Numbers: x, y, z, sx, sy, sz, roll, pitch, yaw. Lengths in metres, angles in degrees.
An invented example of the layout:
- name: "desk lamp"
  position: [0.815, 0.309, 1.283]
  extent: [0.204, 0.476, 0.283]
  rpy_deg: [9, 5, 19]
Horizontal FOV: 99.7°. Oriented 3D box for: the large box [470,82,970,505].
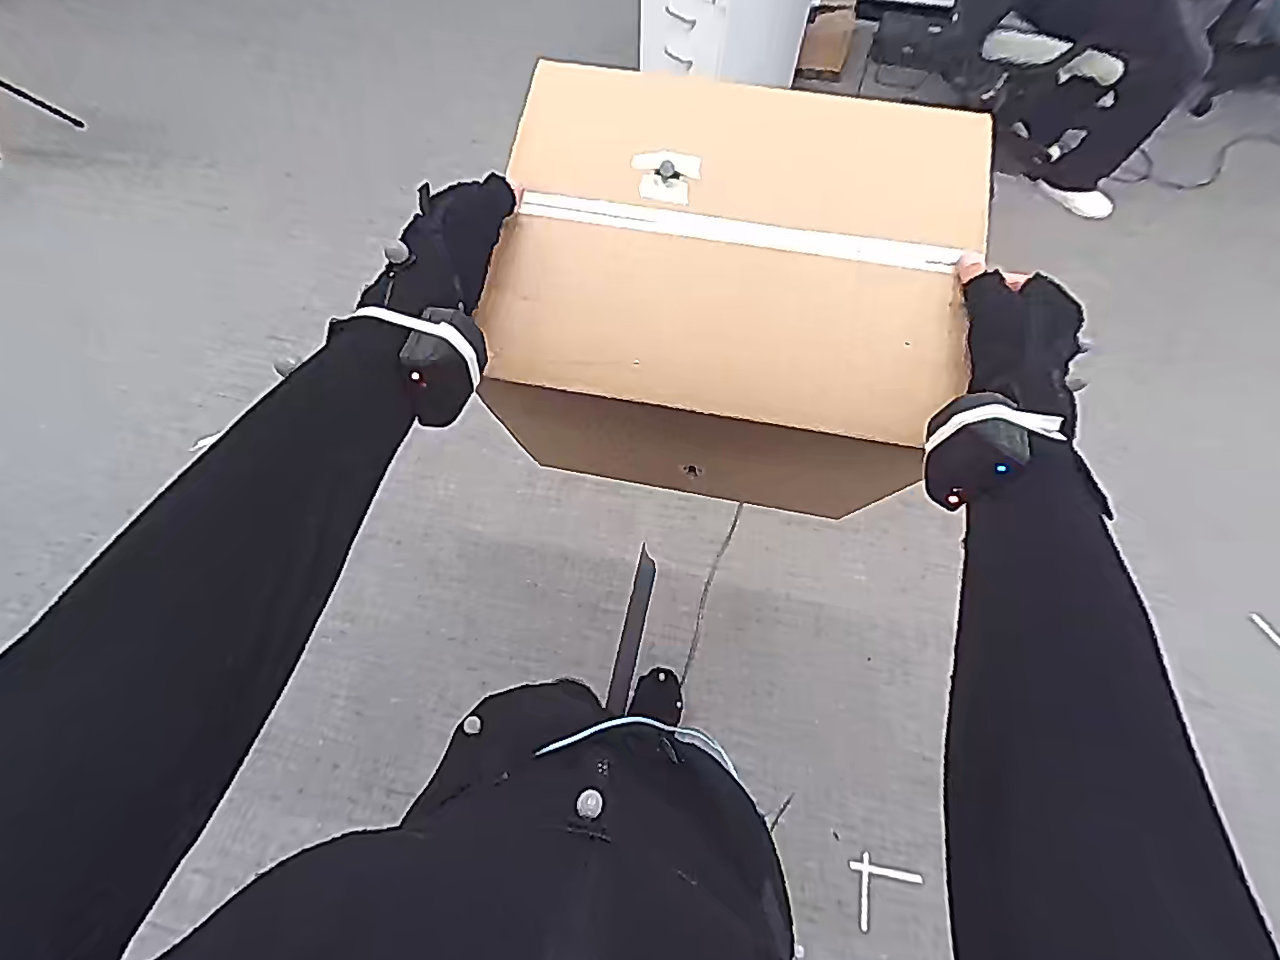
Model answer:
- name: "large box"
  position: [0.085, -0.172, 0.614]
  extent: [0.408, 0.320, 0.320]
  rpy_deg: [10, 77, 5]
